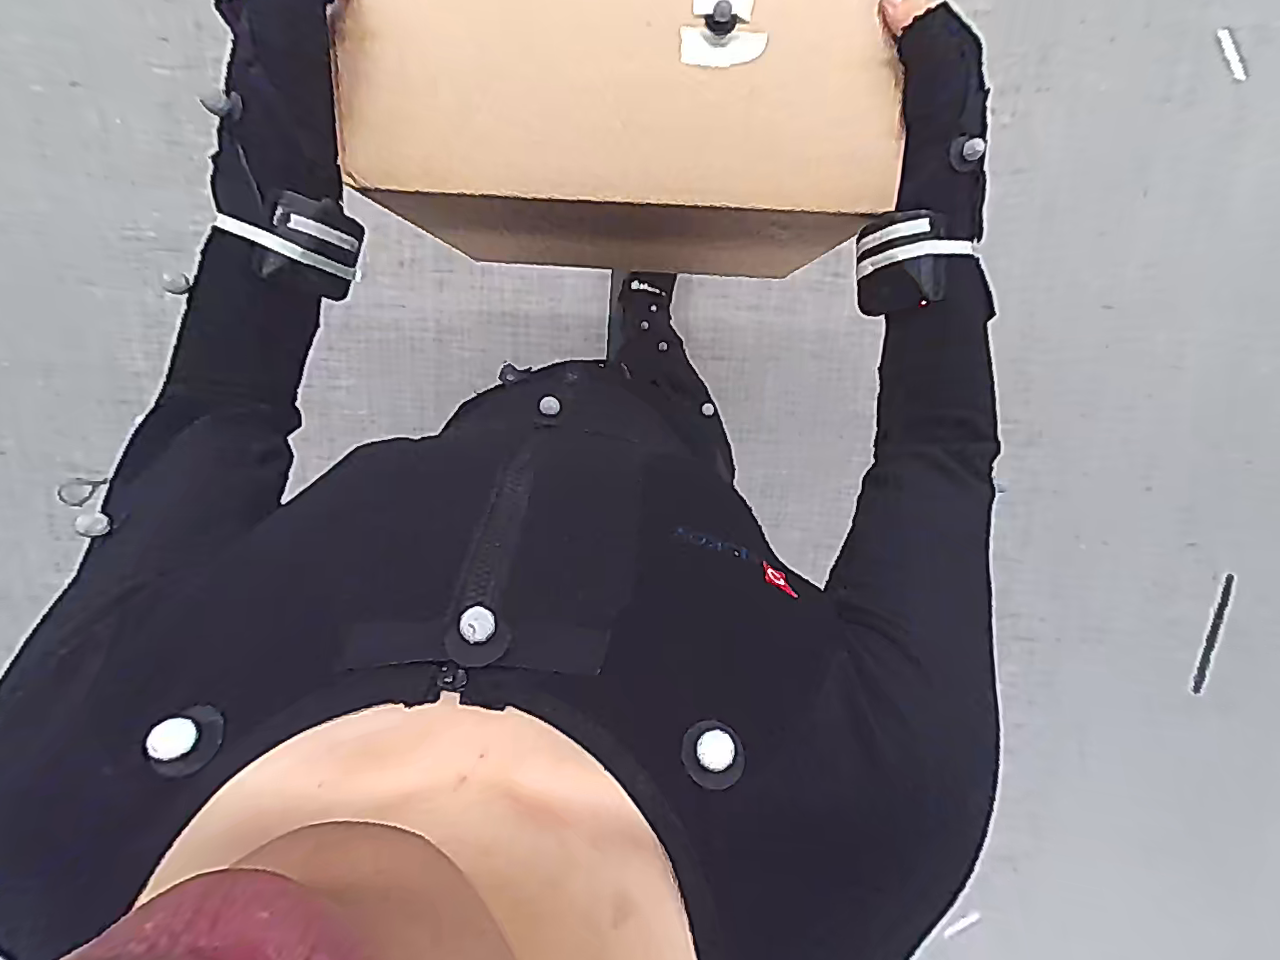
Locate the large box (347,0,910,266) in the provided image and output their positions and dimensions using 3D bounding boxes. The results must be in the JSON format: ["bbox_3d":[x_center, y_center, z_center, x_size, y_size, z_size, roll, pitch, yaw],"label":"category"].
[{"bbox_3d":[-0.007,-0.400,0.519,0.408,0.320,0.320,3,102,0],"label":"large box"}]
